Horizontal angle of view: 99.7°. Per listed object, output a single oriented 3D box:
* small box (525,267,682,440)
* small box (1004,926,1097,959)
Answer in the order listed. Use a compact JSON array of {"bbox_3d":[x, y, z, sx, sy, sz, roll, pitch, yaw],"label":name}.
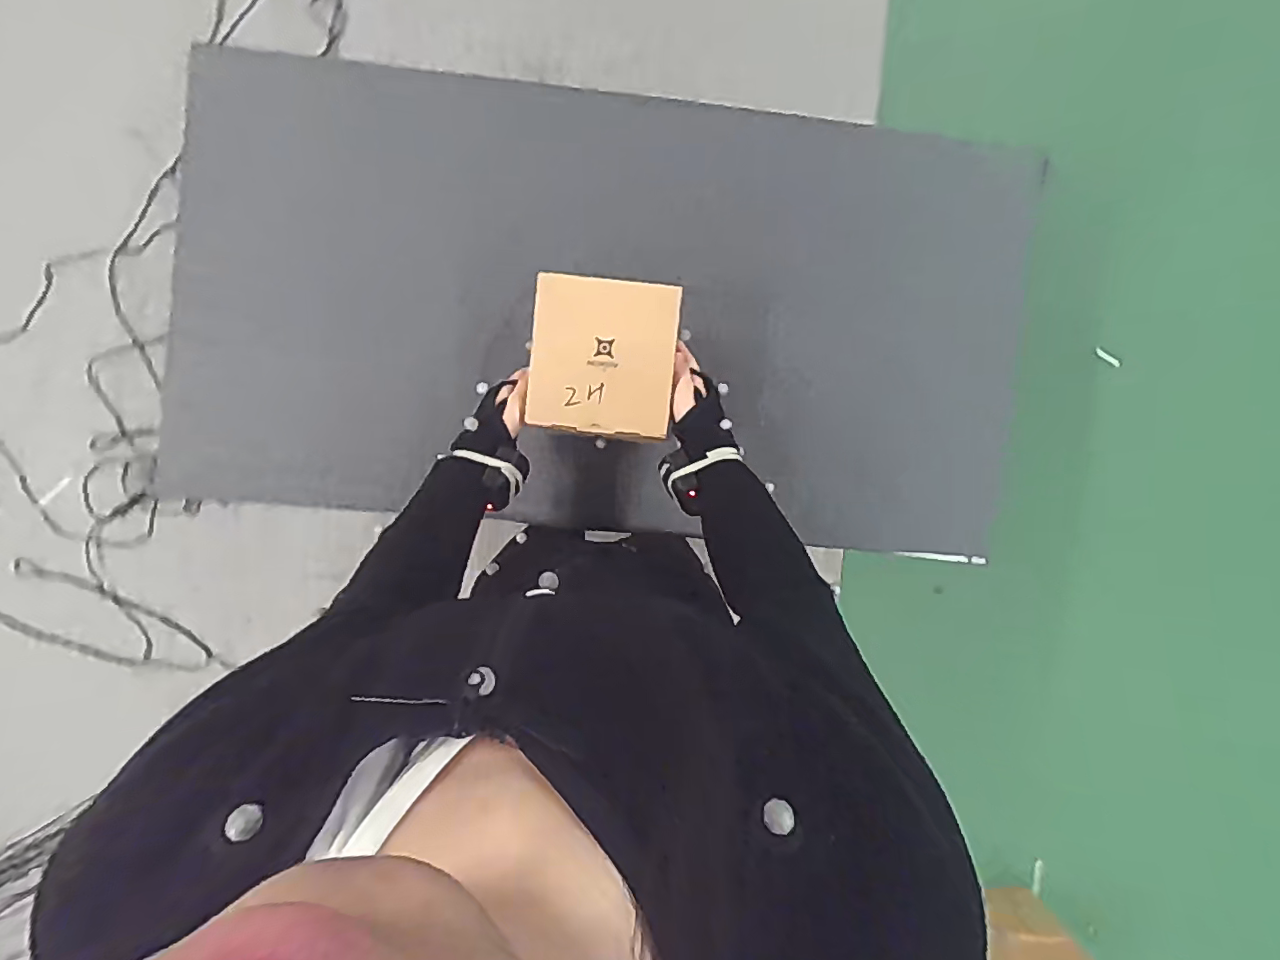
[{"bbox_3d":[-0.043,-0.148,0.692,0.168,0.176,0.179,5,92,0],"label":"small box"},{"bbox_3d":[1.050,1.260,1.349,0.179,0.176,0.168,0,93,-1],"label":"small box"}]
